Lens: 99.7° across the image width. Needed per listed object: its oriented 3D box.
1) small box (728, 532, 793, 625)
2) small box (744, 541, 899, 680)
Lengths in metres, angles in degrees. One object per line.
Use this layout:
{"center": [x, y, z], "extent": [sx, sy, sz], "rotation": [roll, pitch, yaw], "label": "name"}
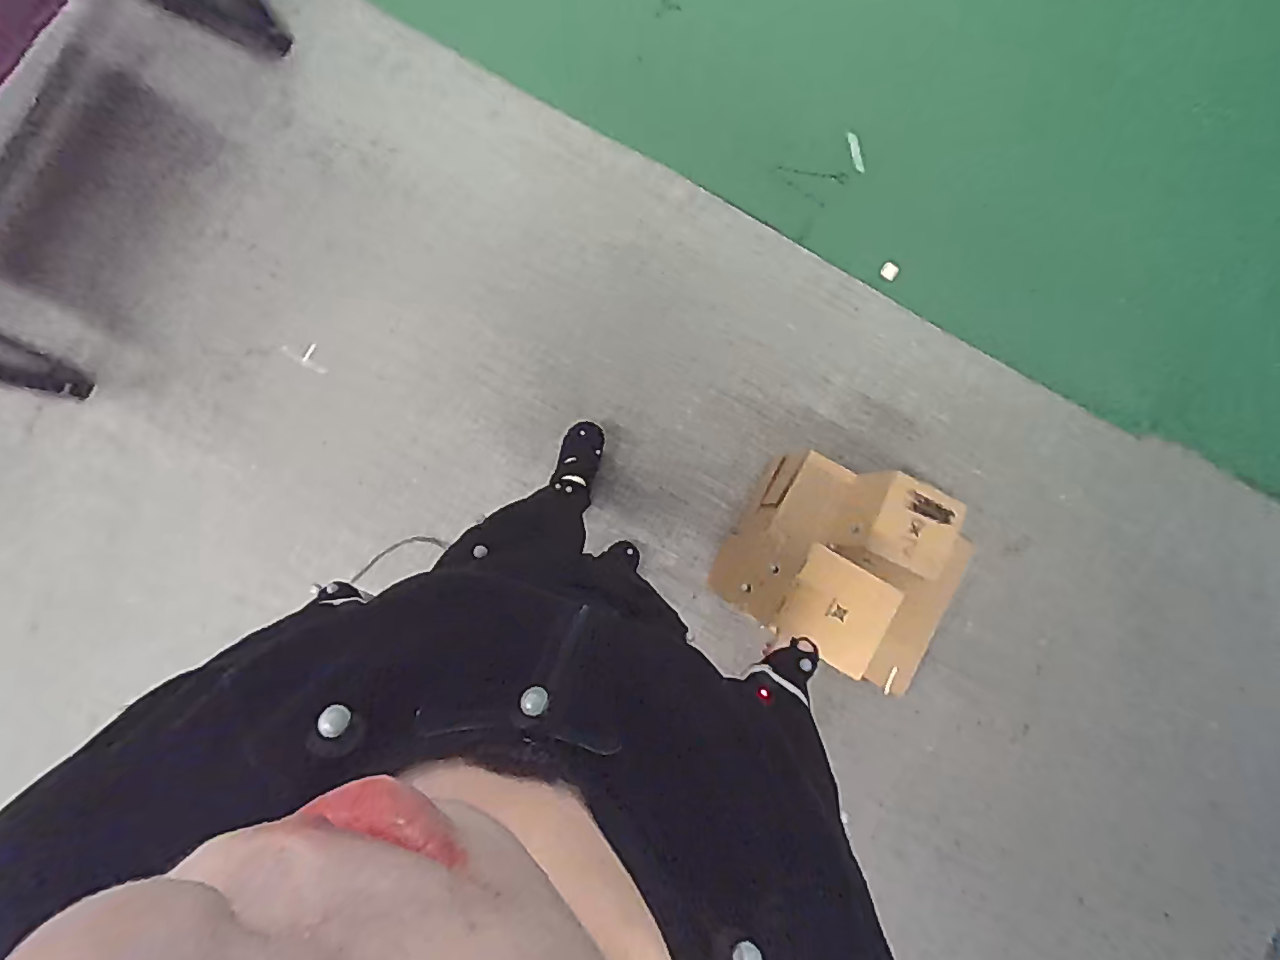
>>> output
{"center": [0.300, 0.225, 1.135], "extent": [0.168, 0.176, 0.179], "rotation": [31, 87, -2], "label": "small box"}
{"center": [0.314, 0.220, 0.973], "extent": [0.179, 0.176, 0.168], "rotation": [31, 87, -1], "label": "small box"}
